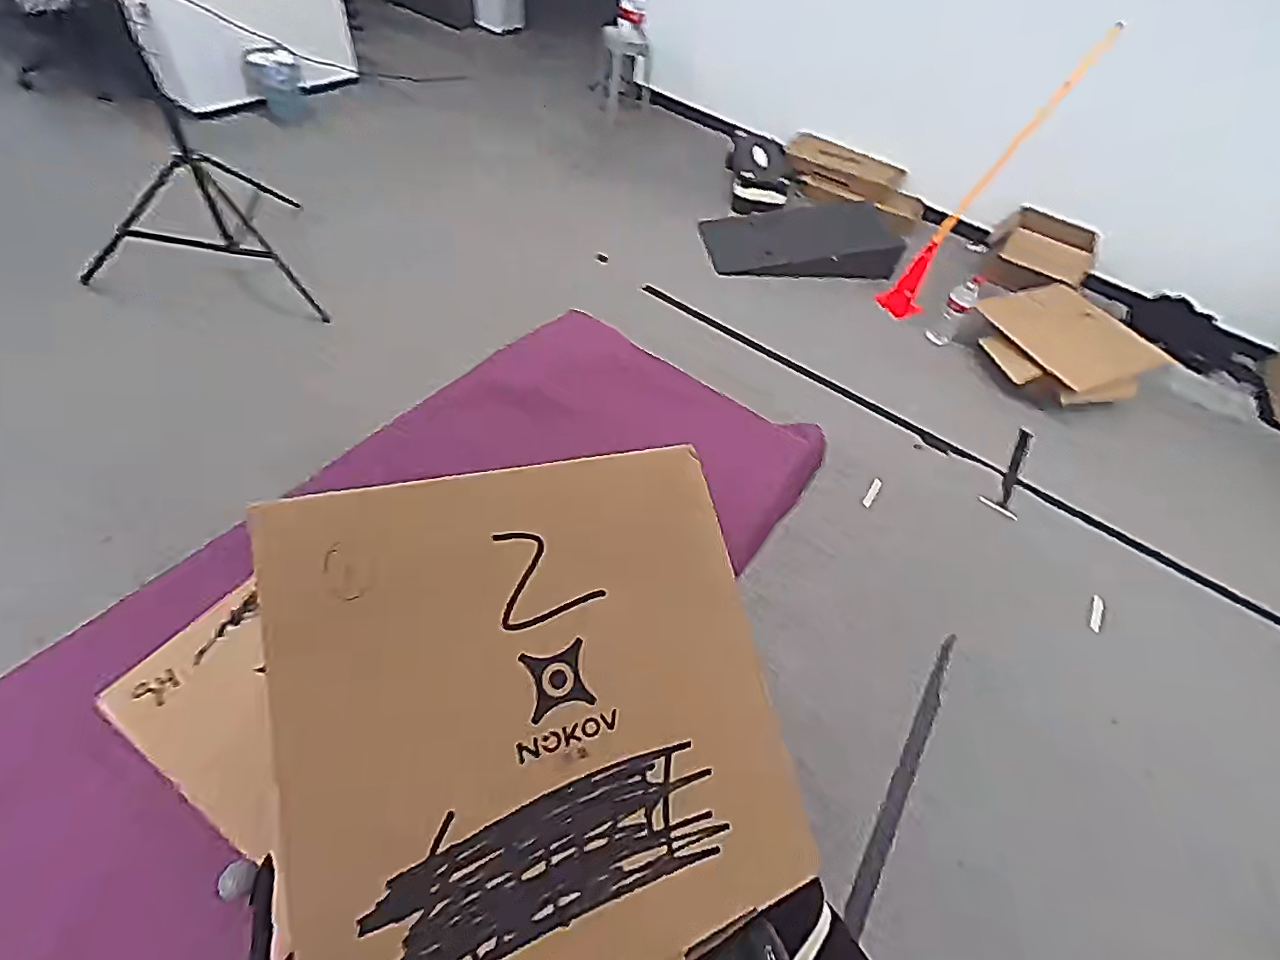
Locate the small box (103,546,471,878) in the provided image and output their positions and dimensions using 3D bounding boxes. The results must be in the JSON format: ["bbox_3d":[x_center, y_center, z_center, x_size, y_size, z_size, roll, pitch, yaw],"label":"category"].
[{"bbox_3d":[-0.267,0.195,0.460,0.179,0.176,0.168,32,55,14],"label":"small box"}]
